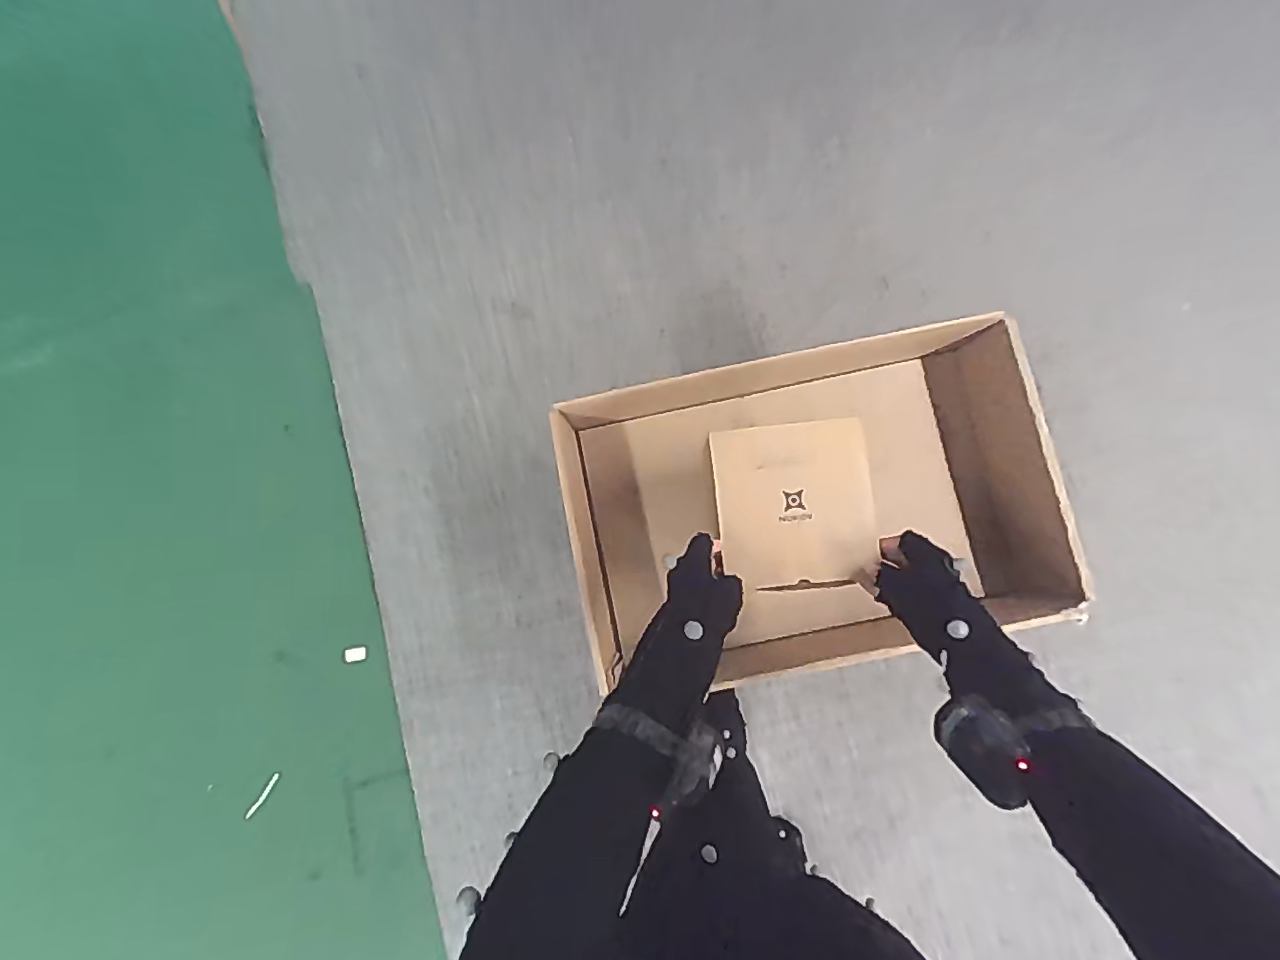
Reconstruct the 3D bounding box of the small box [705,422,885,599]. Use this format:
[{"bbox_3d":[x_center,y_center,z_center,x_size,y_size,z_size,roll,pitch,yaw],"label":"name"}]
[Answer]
[{"bbox_3d":[0.172,0.039,0.652,0.168,0.176,0.179,-7,83,3],"label":"small box"}]
